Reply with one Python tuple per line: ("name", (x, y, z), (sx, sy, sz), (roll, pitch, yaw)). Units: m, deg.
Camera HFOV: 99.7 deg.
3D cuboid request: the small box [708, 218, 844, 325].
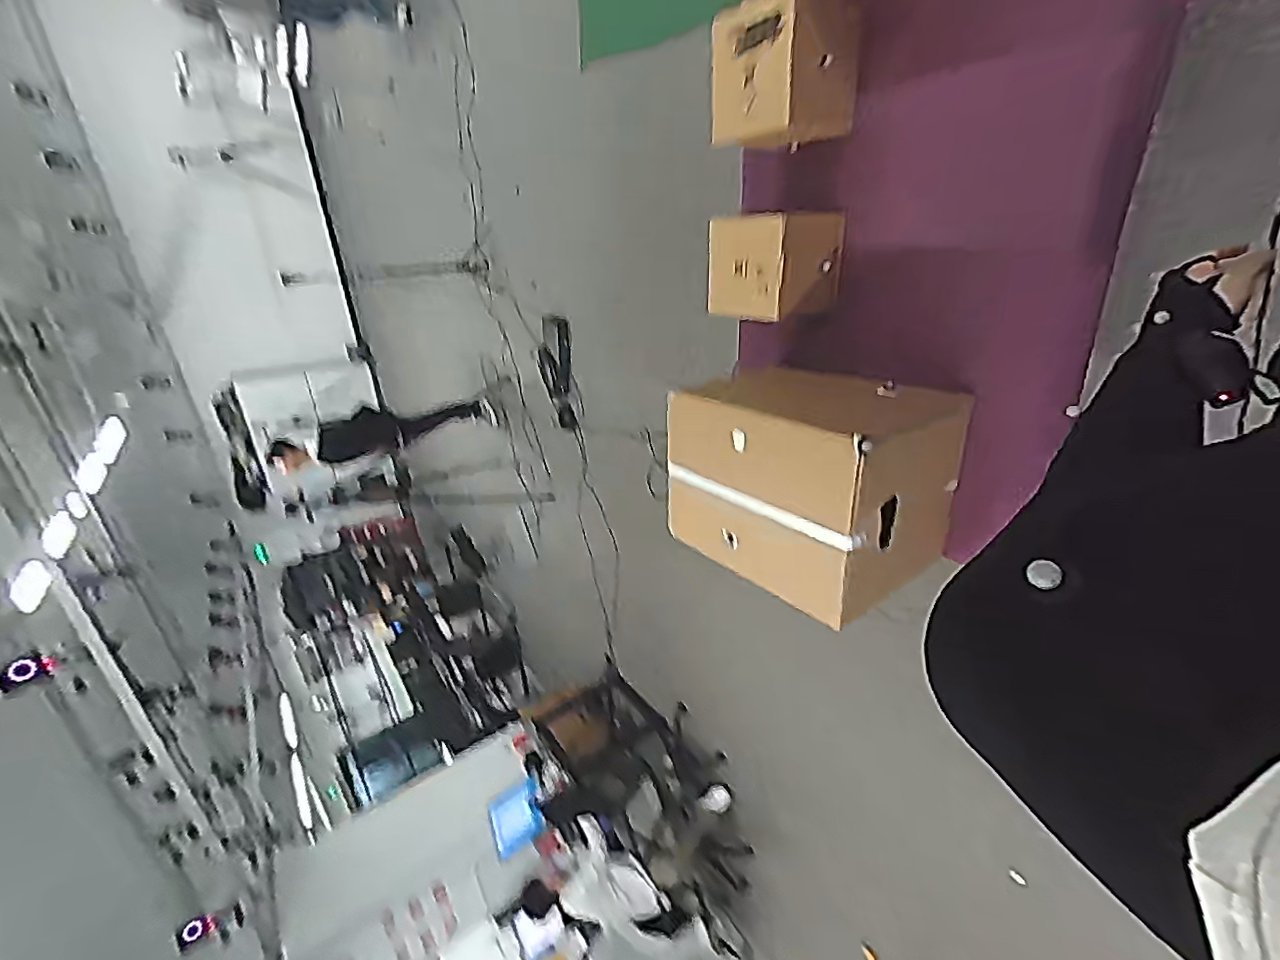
("small box", (0.247, -0.391, 1.004), (0.179, 0.176, 0.168), (27, 129, 48))
